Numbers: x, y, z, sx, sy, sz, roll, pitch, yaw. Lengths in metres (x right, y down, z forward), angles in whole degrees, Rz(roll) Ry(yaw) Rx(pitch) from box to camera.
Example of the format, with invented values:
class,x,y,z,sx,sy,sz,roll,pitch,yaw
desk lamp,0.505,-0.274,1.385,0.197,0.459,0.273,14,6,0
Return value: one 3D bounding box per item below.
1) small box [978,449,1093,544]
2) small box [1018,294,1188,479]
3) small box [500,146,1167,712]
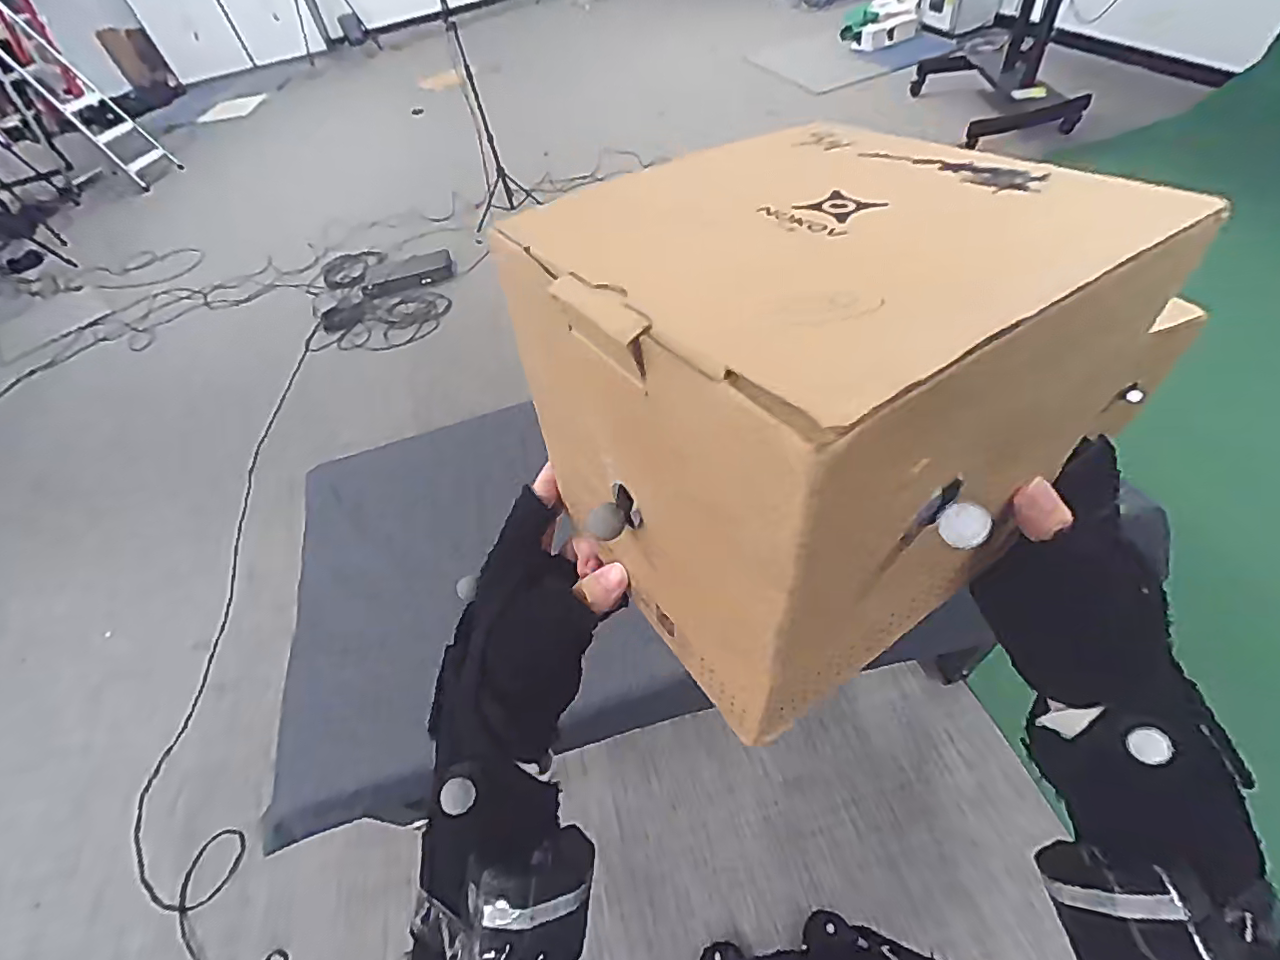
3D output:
class,x,y,z,sx,sy,sz,roll,pitch,yaw
small box,0.449,-0.022,0.742,0.168,0.176,0.179,-21,49,-6
small box,0.427,-0.118,0.614,0.179,0.176,0.168,-20,48,-4
small box,0.065,-0.030,0.252,0.179,0.176,0.168,-28,49,-20
